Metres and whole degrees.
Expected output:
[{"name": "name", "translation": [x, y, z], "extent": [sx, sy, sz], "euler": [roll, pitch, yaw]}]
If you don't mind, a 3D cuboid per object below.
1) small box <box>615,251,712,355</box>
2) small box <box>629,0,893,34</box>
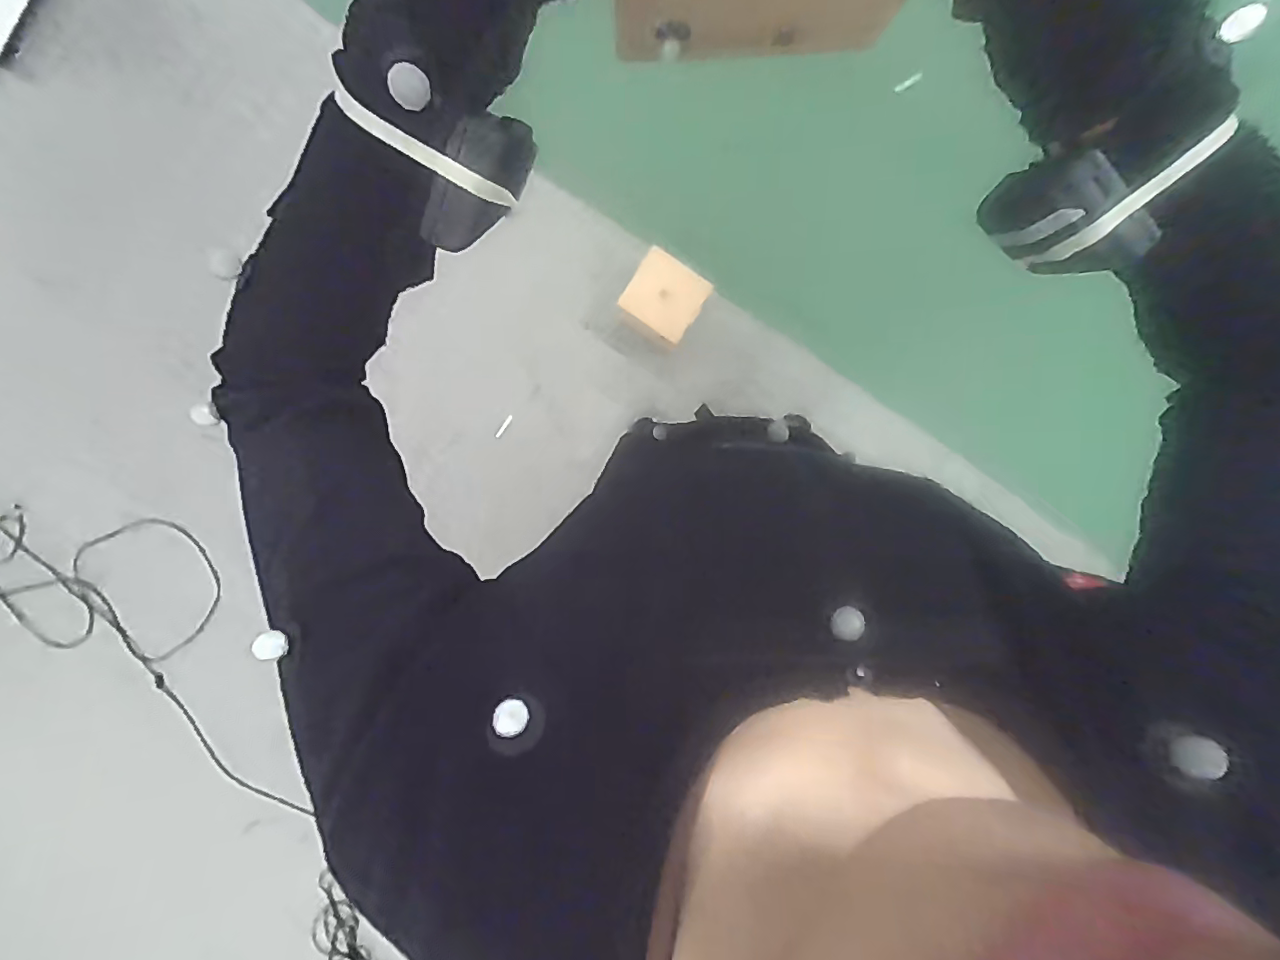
[{"name": "small box", "translation": [0.054, -0.430, 1.352], "extent": [0.179, 0.176, 0.168], "euler": [33, 94, -3]}, {"name": "small box", "translation": [0.070, -0.349, 0.250], "extent": [0.168, 0.176, 0.179], "euler": [-2, 98, 0]}]
